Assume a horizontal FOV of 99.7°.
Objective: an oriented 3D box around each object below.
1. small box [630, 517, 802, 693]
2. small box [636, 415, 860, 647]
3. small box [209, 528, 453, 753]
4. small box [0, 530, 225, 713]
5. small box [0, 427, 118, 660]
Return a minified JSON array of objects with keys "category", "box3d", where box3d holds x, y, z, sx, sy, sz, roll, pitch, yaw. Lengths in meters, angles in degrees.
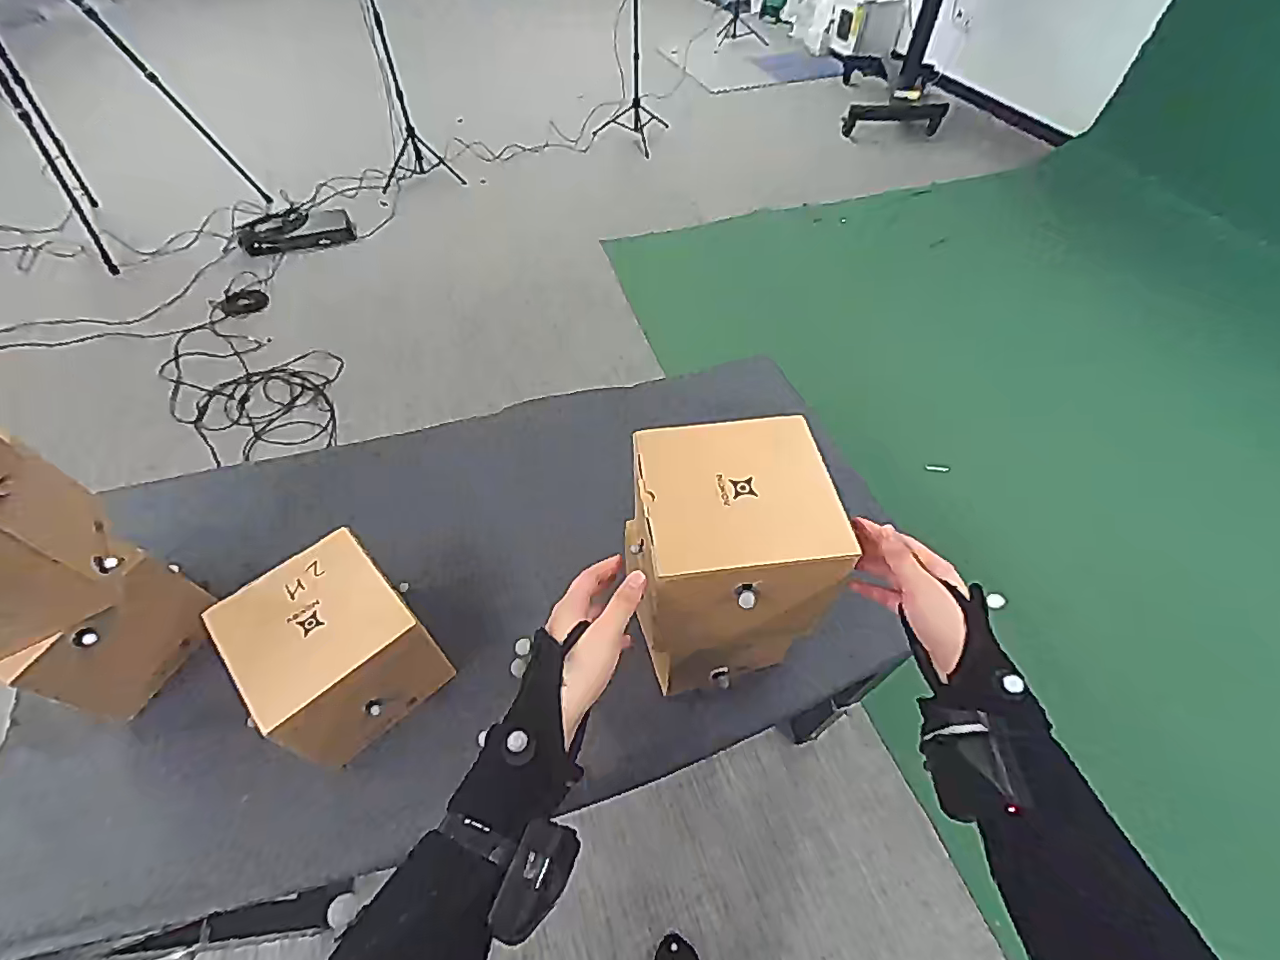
[{"category":"small box","box3d":[0.087,0.144,0.689,0.168,0.176,0.179,-15,54,-10]},{"category":"small box","box3d":[0.090,0.056,0.552,0.179,0.176,0.168,-6,52,-3]},{"category":"small box","box3d":[-0.353,0.197,0.649,0.168,0.176,0.179,-37,61,-25]},{"category":"small box","box3d":[-0.679,0.166,0.673,0.179,0.176,0.168,18,55,12]},{"category":"small box","box3d":[-0.677,0.071,0.538,0.179,0.176,0.168,-31,60,-21]}]
